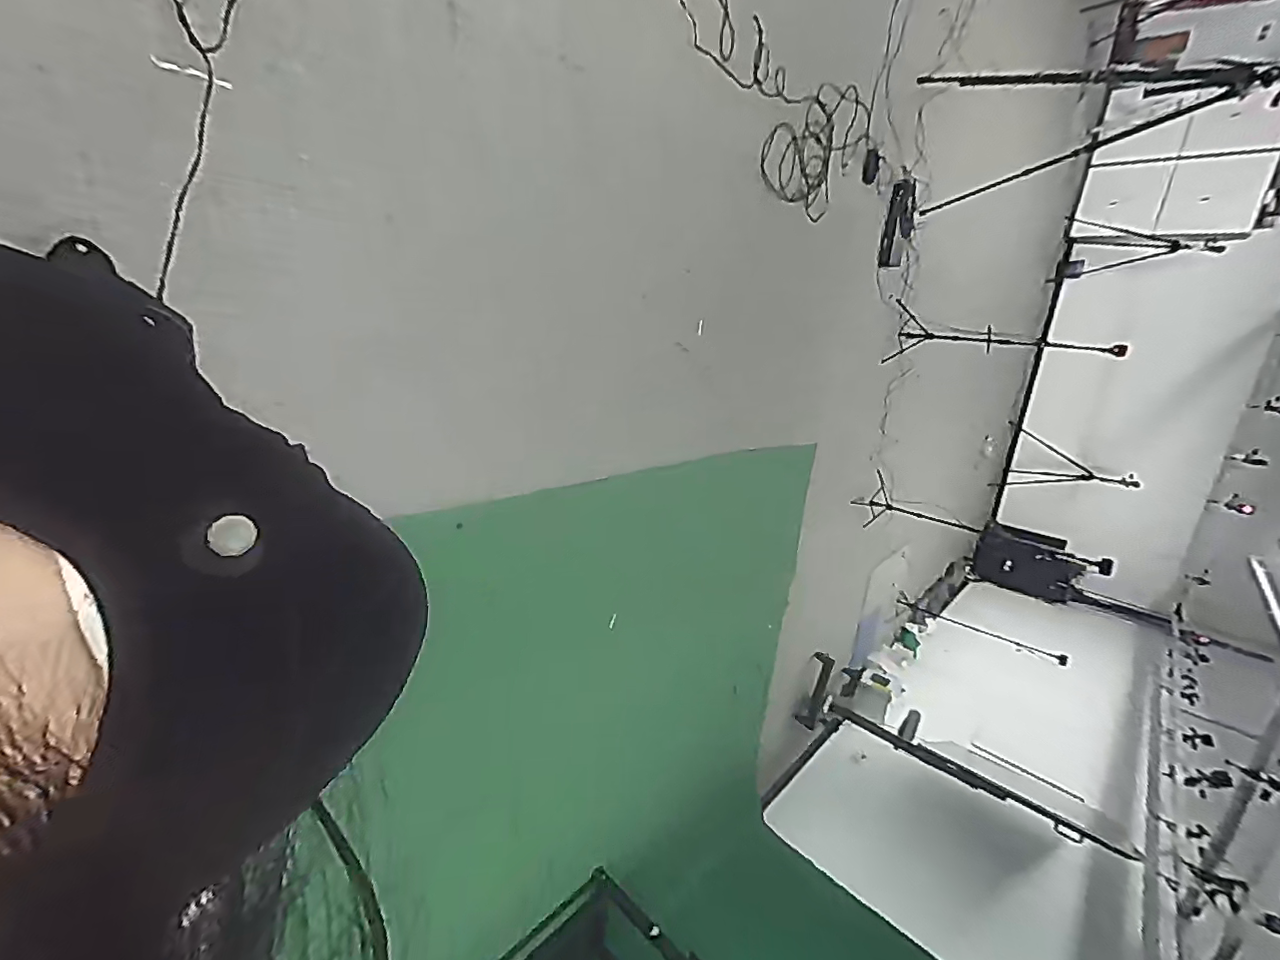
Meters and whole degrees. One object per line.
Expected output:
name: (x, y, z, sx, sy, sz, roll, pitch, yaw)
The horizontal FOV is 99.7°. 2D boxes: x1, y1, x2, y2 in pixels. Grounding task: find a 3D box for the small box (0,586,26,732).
small box: (-1.044, 0.280, 0.801, 0.168, 0.176, 0.179, -6, 107, -47)
